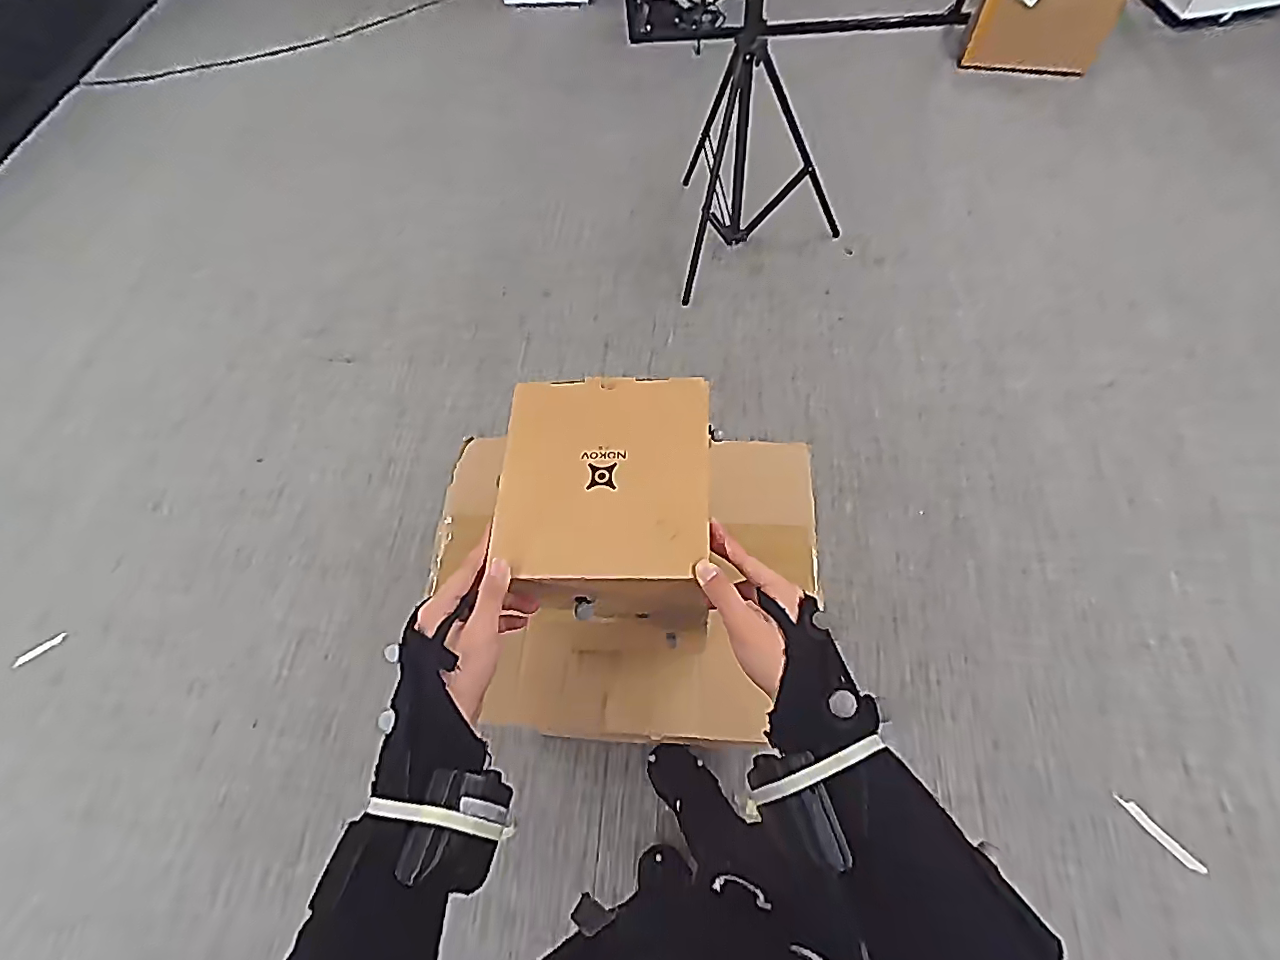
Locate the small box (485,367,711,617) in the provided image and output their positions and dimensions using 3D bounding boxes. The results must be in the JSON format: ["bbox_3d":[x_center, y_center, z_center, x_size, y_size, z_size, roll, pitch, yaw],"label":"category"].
[{"bbox_3d":[-0.020,0.022,0.486,0.168,0.176,0.179,-1,63,6],"label":"small box"}]
